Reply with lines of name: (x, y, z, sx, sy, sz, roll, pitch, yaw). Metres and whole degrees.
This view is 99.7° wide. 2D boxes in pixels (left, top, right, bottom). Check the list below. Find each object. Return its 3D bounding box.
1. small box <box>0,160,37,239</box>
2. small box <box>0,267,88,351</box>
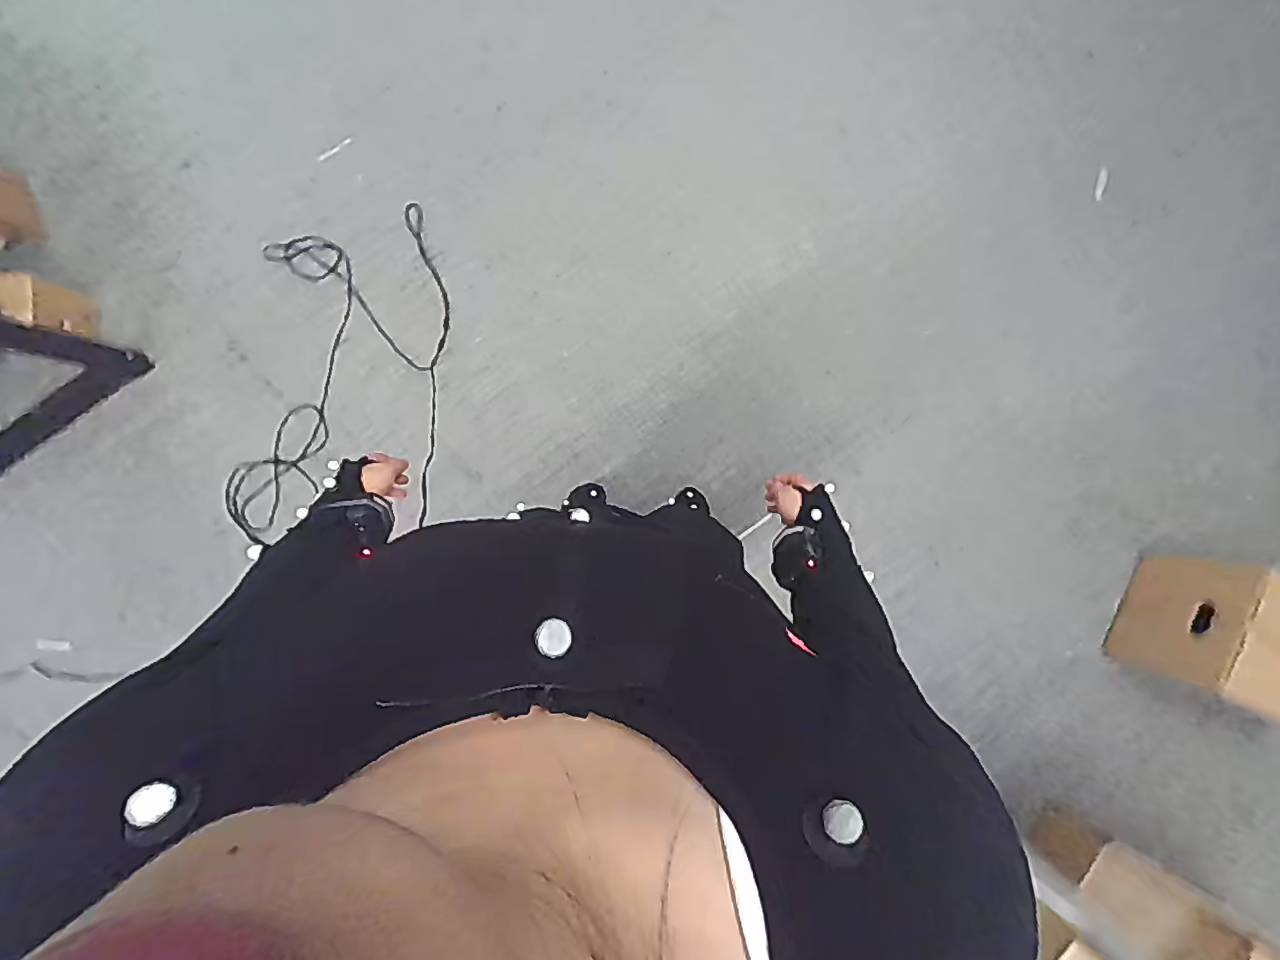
small box: (-1.705, -0.731, 1.357, 0.168, 0.176, 0.179, -21, 92, -1)
small box: (-1.556, -0.425, 1.364, 0.179, 0.176, 0.168, -2, 90, -1)
